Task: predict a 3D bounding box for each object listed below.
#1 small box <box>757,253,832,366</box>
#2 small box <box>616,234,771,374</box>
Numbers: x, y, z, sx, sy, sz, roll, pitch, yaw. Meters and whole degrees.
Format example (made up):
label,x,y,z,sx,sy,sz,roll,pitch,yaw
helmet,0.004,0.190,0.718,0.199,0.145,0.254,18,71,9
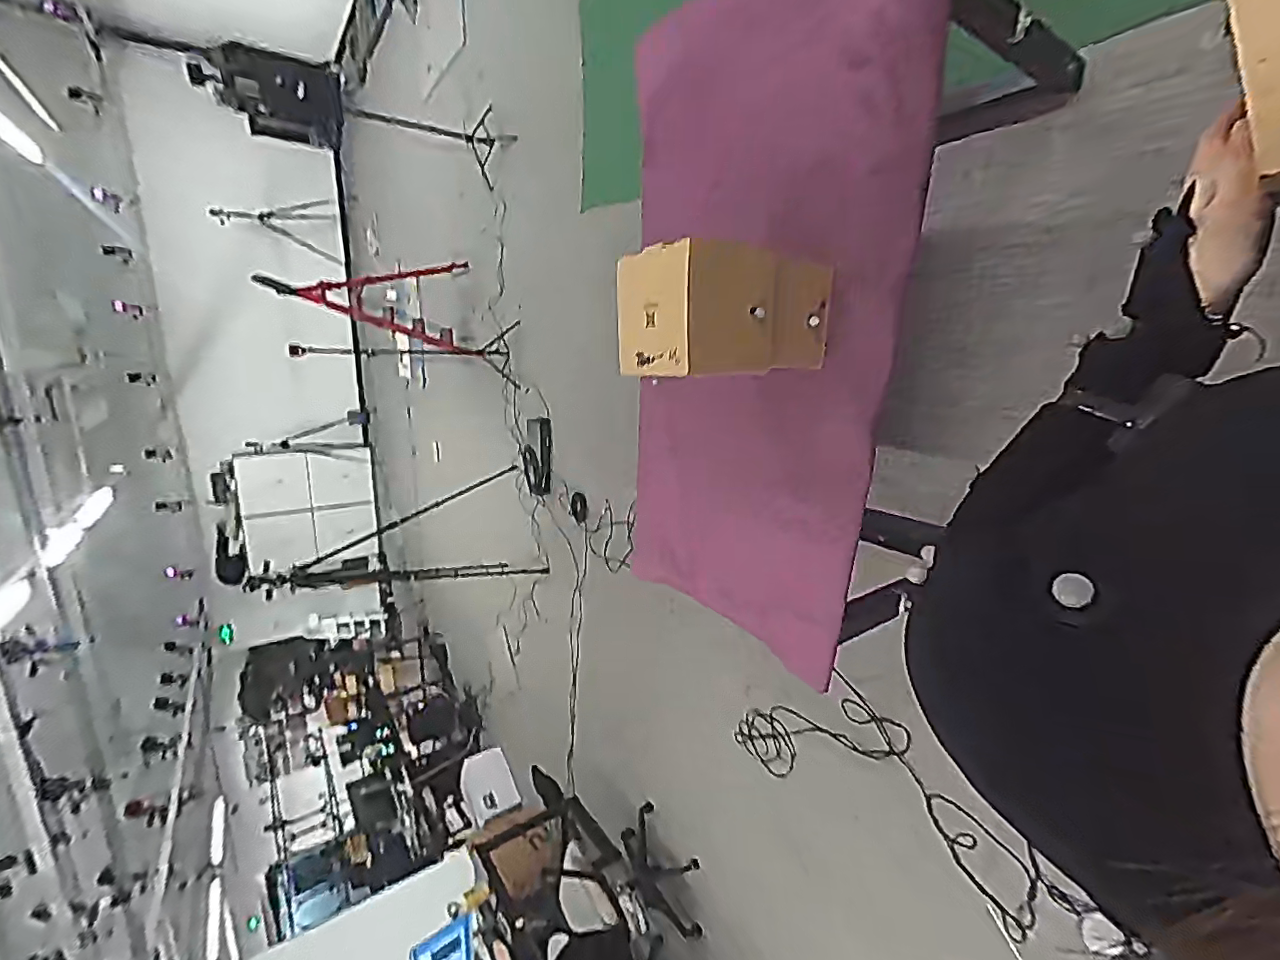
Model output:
label,x,y,z,sx,sy,sz,roll,pitch,yaw
small box,0.197,-0.285,0.926,0.179,0.176,0.168,21,114,51
small box,0.080,-0.252,0.813,0.168,0.176,0.179,16,110,52
